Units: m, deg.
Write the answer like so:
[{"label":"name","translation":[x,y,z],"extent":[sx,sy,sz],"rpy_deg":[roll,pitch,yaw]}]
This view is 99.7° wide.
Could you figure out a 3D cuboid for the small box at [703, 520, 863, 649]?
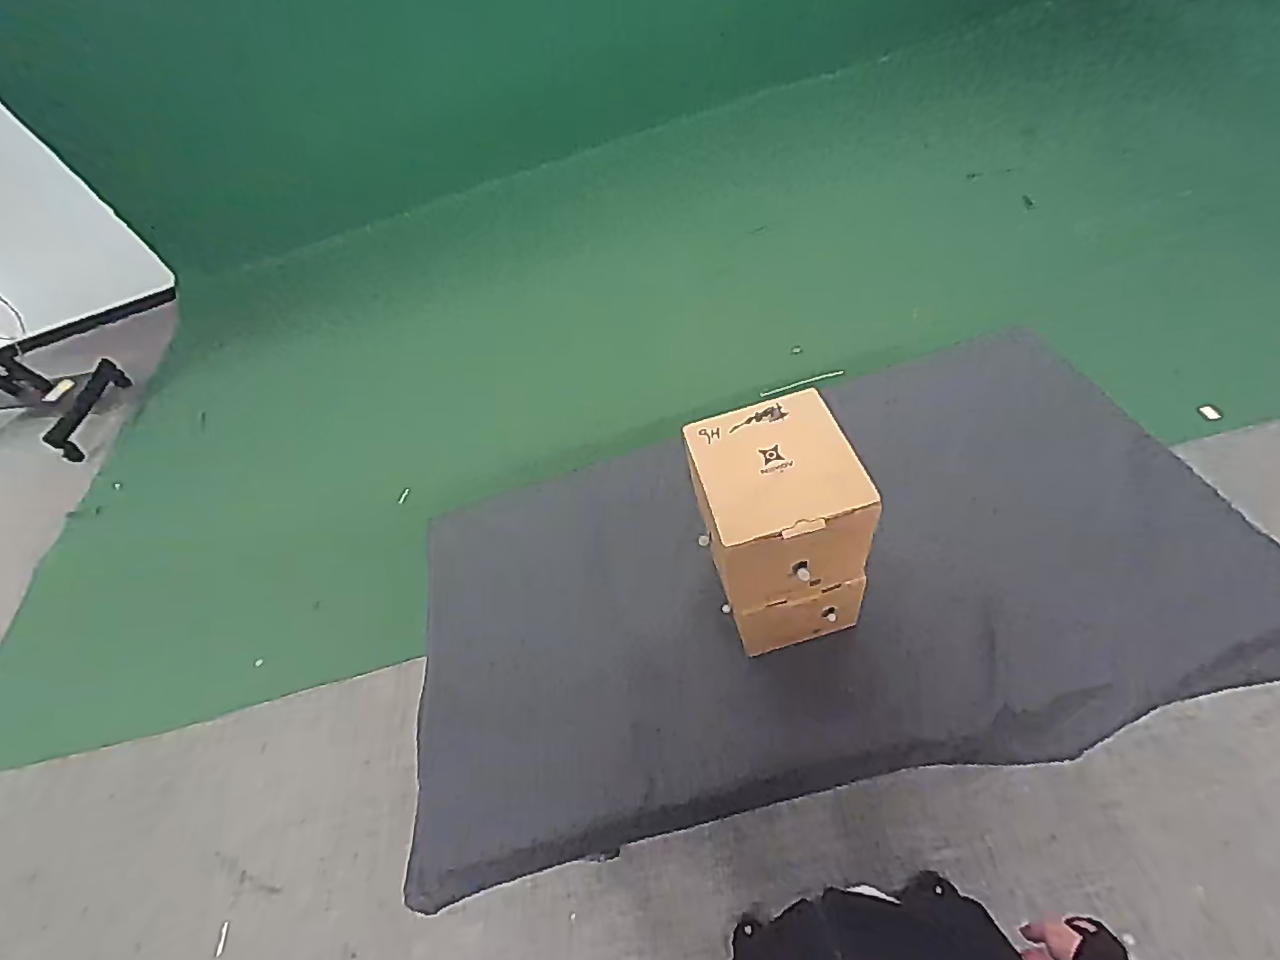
[{"label":"small box","translation":[0.200,0.128,0.783],"extent":[0.168,0.176,0.179],"rpy_deg":[-17,52,1]}]

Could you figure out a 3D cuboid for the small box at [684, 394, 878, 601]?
[{"label":"small box","translation":[0.162,0.031,0.656],"extent":[0.168,0.176,0.179],"rpy_deg":[-16,54,2]}]
